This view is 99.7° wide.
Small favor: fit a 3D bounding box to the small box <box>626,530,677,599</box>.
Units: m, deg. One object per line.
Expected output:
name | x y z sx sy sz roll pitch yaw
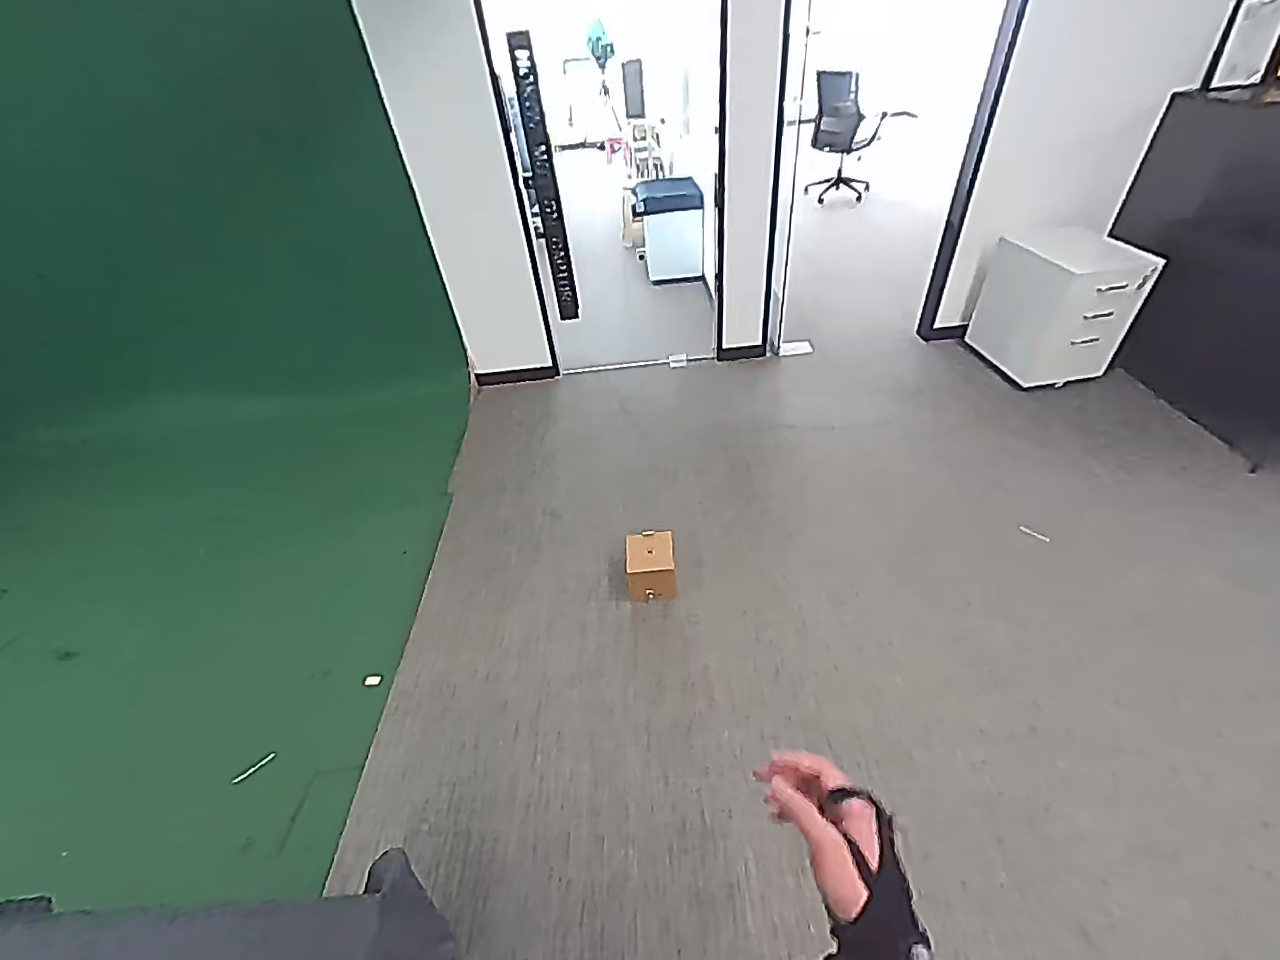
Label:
small box | 0.044 0.300 1.922 0.168 0.176 0.179 -5 41 5
